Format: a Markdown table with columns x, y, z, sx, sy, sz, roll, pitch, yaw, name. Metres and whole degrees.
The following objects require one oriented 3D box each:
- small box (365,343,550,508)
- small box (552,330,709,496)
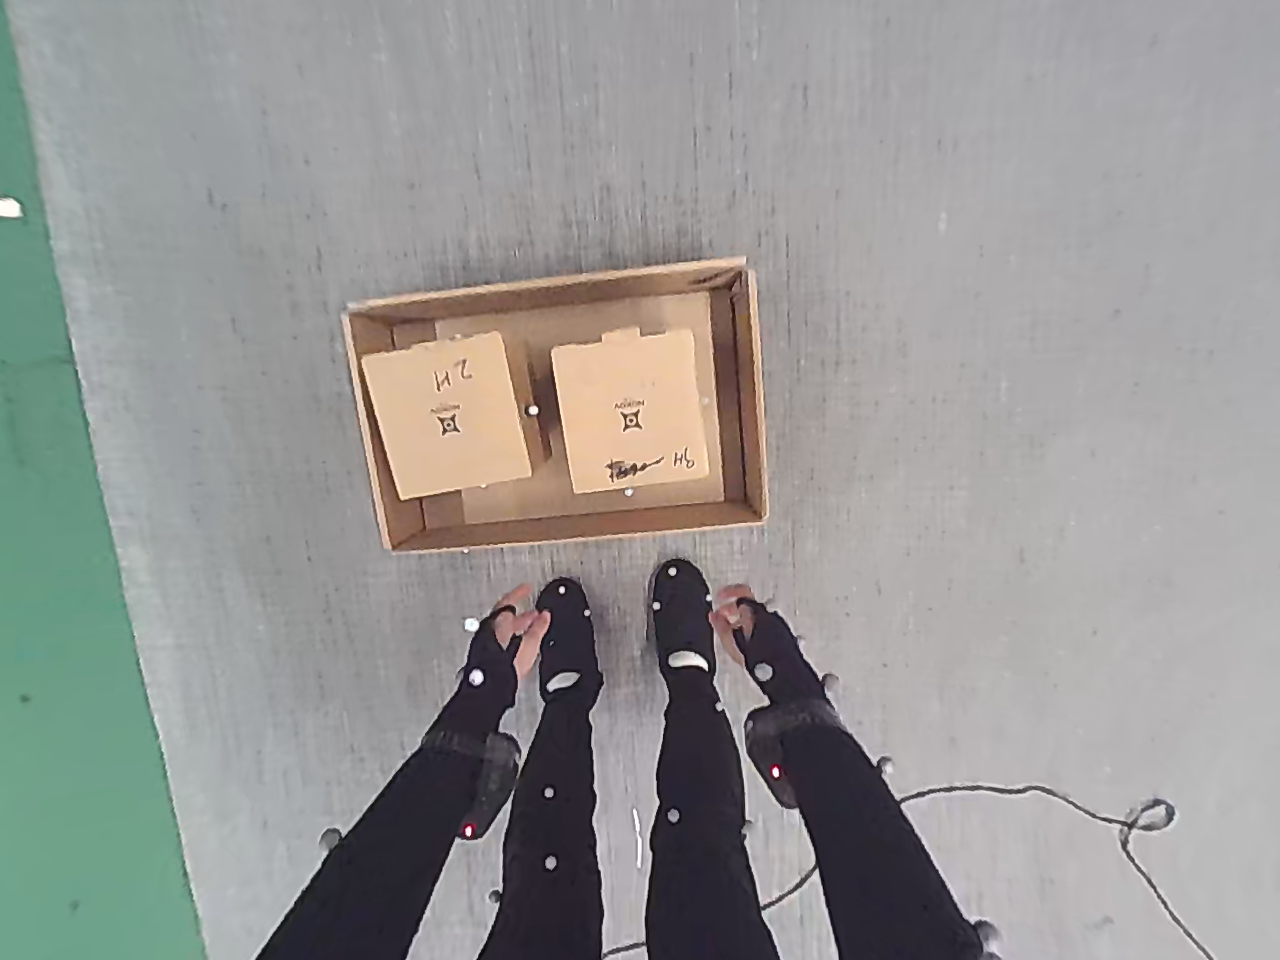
| x | y | z | sx | sy | sz | roll | pitch | yaw | name |
| --- | --- | --- | --- | --- | --- | --- | --- | --- | --- |
| -0.225 | -0.078 | 0.719 | 0.168 | 0.176 | 0.179 | -11 | 100 | 1 | small box |
| -0.006 | -0.086 | 0.706 | 0.168 | 0.176 | 0.179 | -8 | 99 | 6 | small box |
